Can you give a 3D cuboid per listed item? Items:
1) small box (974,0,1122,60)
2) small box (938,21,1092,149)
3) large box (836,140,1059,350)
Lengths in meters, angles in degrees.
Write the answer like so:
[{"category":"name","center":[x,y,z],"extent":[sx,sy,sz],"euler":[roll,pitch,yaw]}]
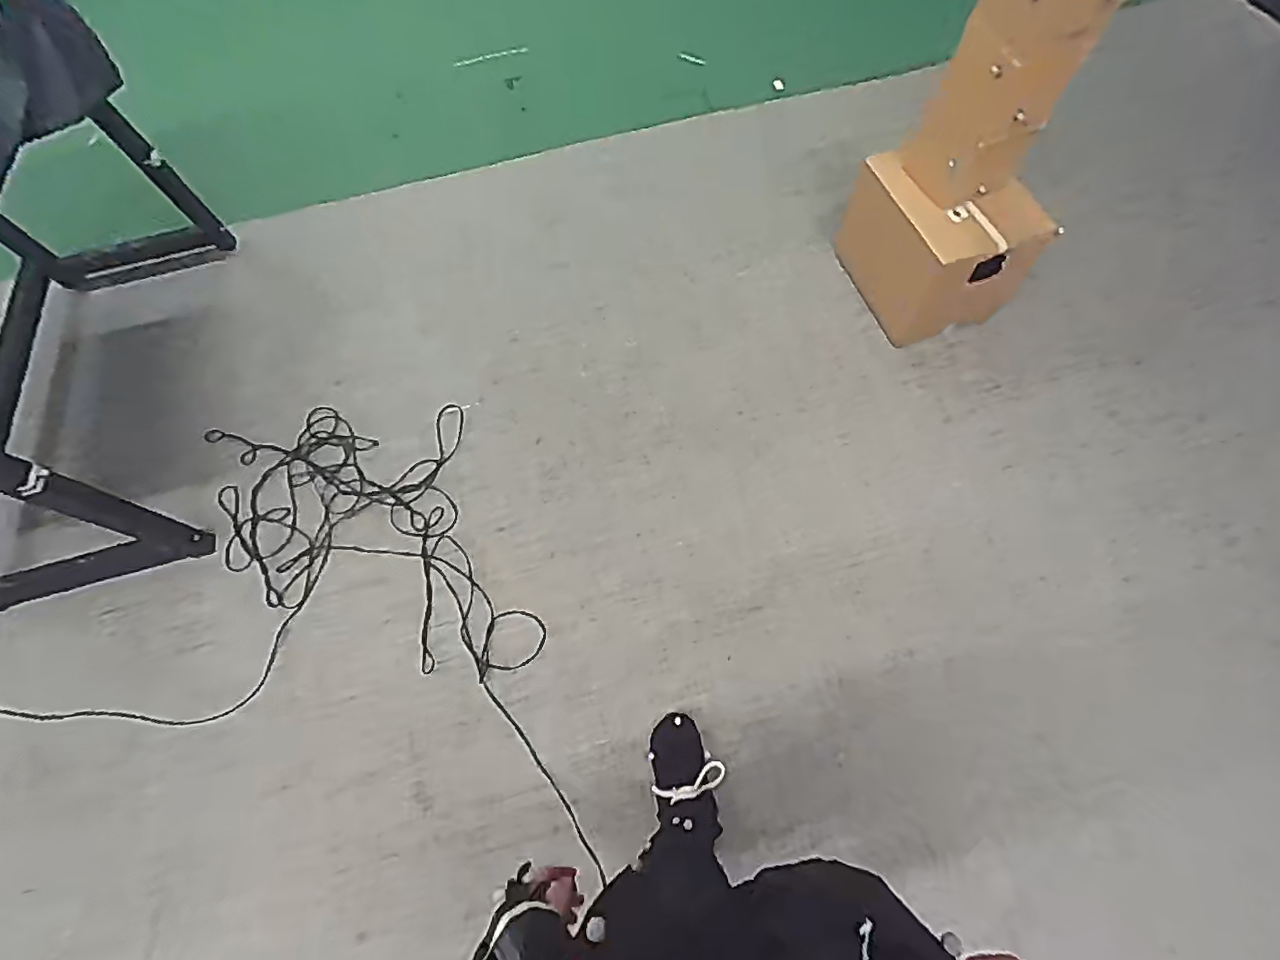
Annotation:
[{"category":"small box","center":[0.768,-0.909,0.992],"extent":[0.168,0.176,0.179],"euler":[-18,66,-6]},{"category":"small box","center":[0.772,-0.843,1.140],"extent":[0.168,0.176,0.179],"euler":[-18,67,-5]},{"category":"large box","center":[0.807,-0.641,1.494],"extent":[0.320,0.320,0.408],"euler":[-18,67,-3]}]
